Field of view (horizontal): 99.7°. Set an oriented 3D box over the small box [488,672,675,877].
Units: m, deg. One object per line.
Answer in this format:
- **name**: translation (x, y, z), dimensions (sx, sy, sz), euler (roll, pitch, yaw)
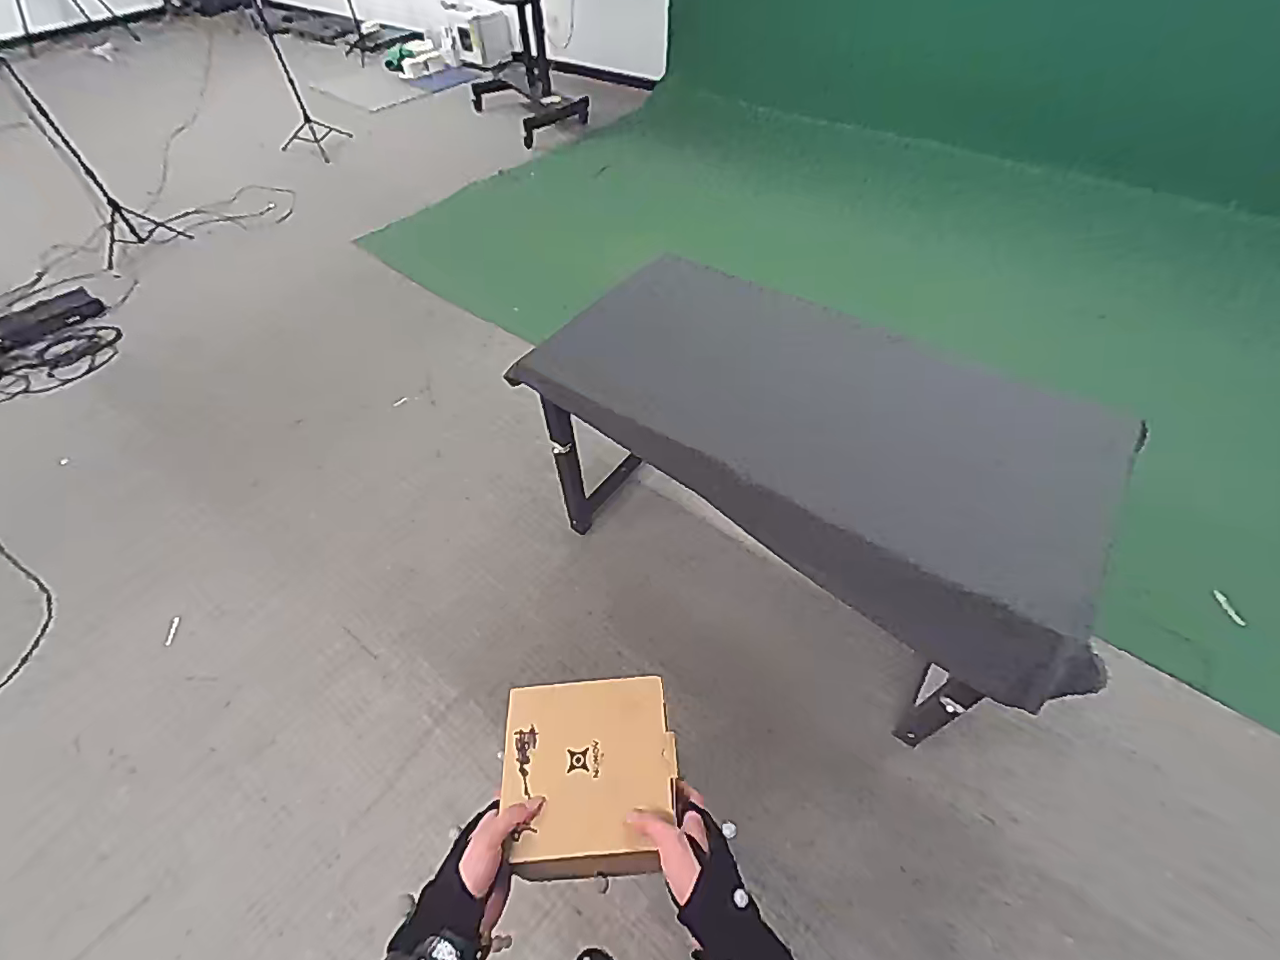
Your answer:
- **small box**: translation (-0.056, 0.334, 0.612), dimensions (0.179, 0.176, 0.168), euler (-5, 47, 0)
